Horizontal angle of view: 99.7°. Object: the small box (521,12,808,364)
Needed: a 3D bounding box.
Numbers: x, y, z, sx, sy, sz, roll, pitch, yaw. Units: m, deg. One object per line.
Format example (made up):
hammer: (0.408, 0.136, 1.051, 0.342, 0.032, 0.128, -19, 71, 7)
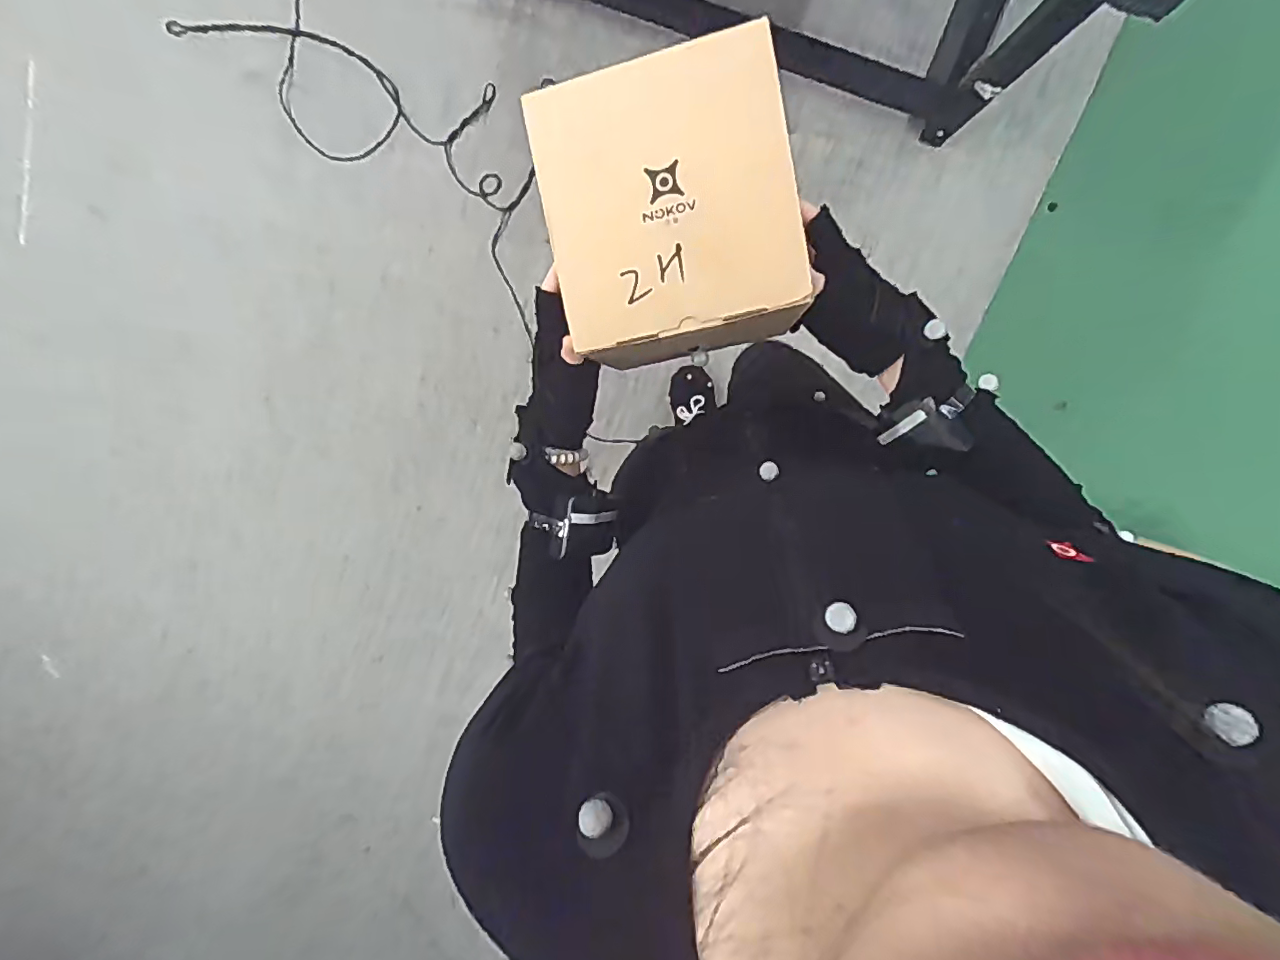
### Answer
small box: (0.026, -0.199, 0.429, 0.168, 0.176, 0.179, -10, 96, 11)
